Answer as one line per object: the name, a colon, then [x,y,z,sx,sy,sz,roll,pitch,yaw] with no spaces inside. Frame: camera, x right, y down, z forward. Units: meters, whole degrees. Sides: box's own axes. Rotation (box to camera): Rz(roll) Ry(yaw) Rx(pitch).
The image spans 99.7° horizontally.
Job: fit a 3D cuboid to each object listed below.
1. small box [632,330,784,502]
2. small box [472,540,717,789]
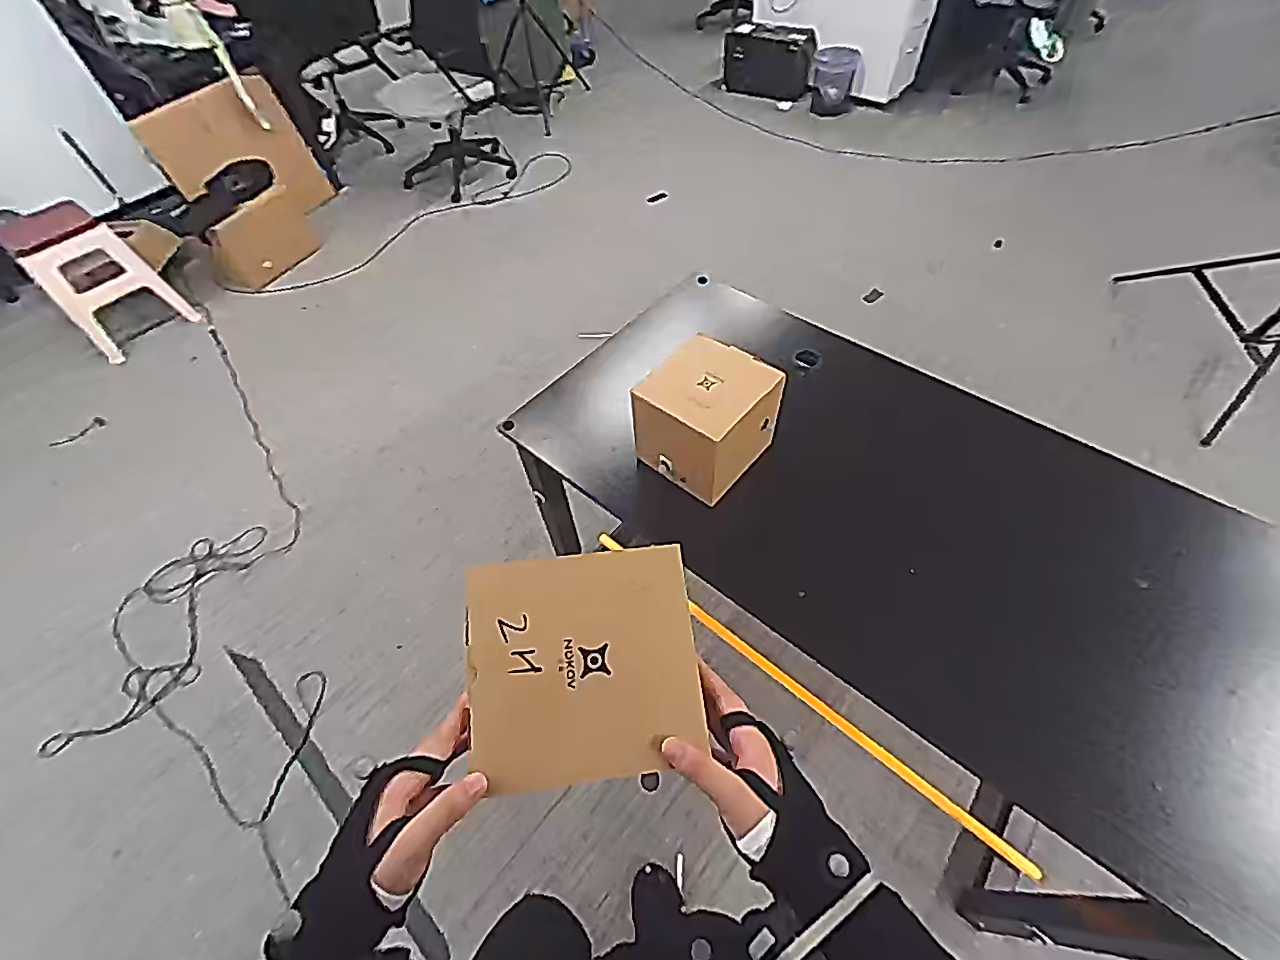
small box: [0.104,-0.101,0.868,0.168,0.176,0.179,33,63,25]
small box: [-0.043,0.158,0.482,0.179,0.176,0.168,-5,70,-5]
